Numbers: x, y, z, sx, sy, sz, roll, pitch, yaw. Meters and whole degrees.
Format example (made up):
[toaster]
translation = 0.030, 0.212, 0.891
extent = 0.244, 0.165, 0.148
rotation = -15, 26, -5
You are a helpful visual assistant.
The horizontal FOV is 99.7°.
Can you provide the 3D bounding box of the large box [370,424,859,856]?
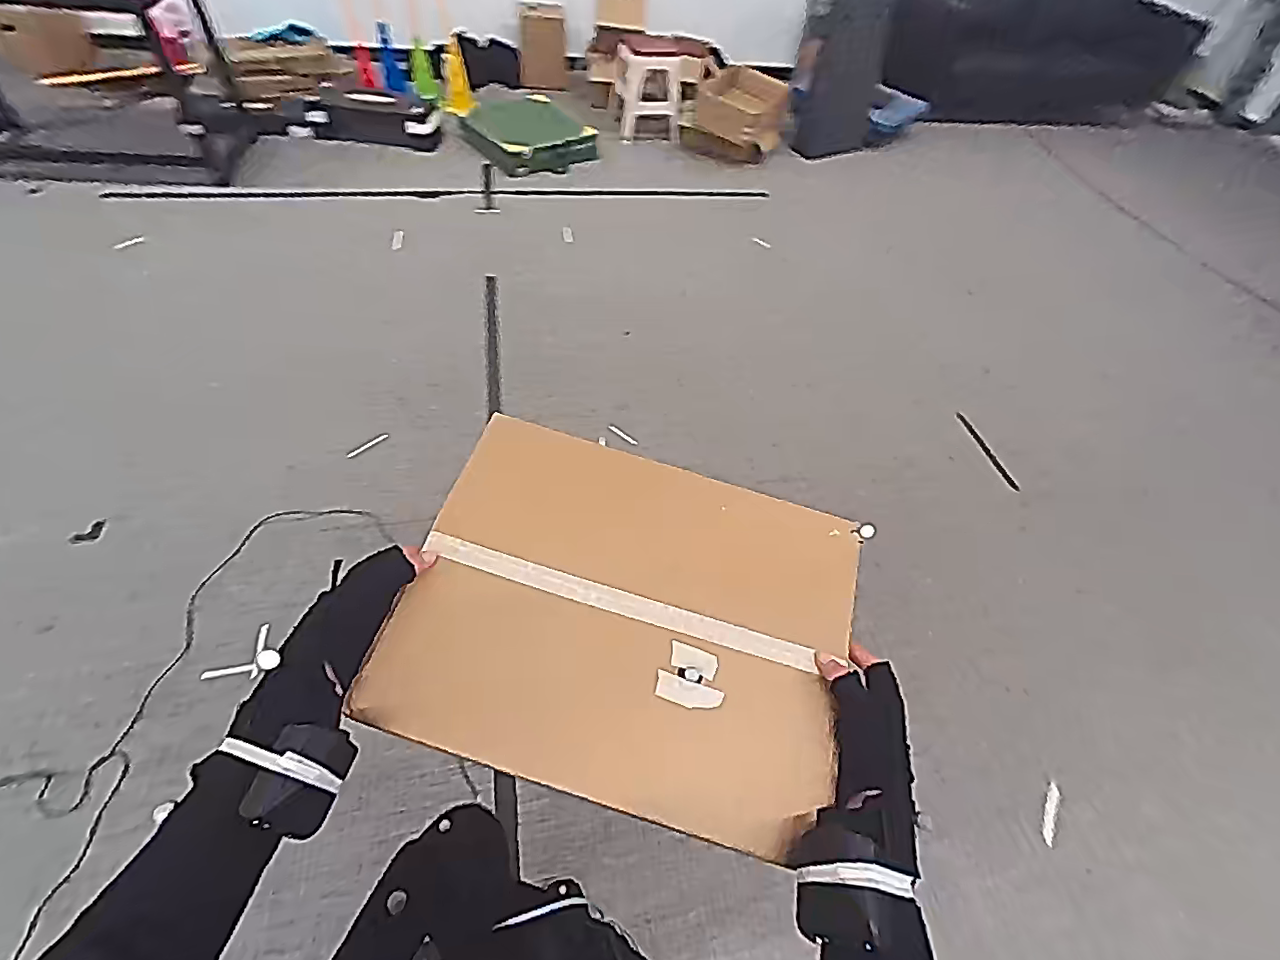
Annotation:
[large box]
translation = -0.014, 0.189, 0.642
extent = 0.408, 0.320, 0.320
rotation = 18, 62, 2
